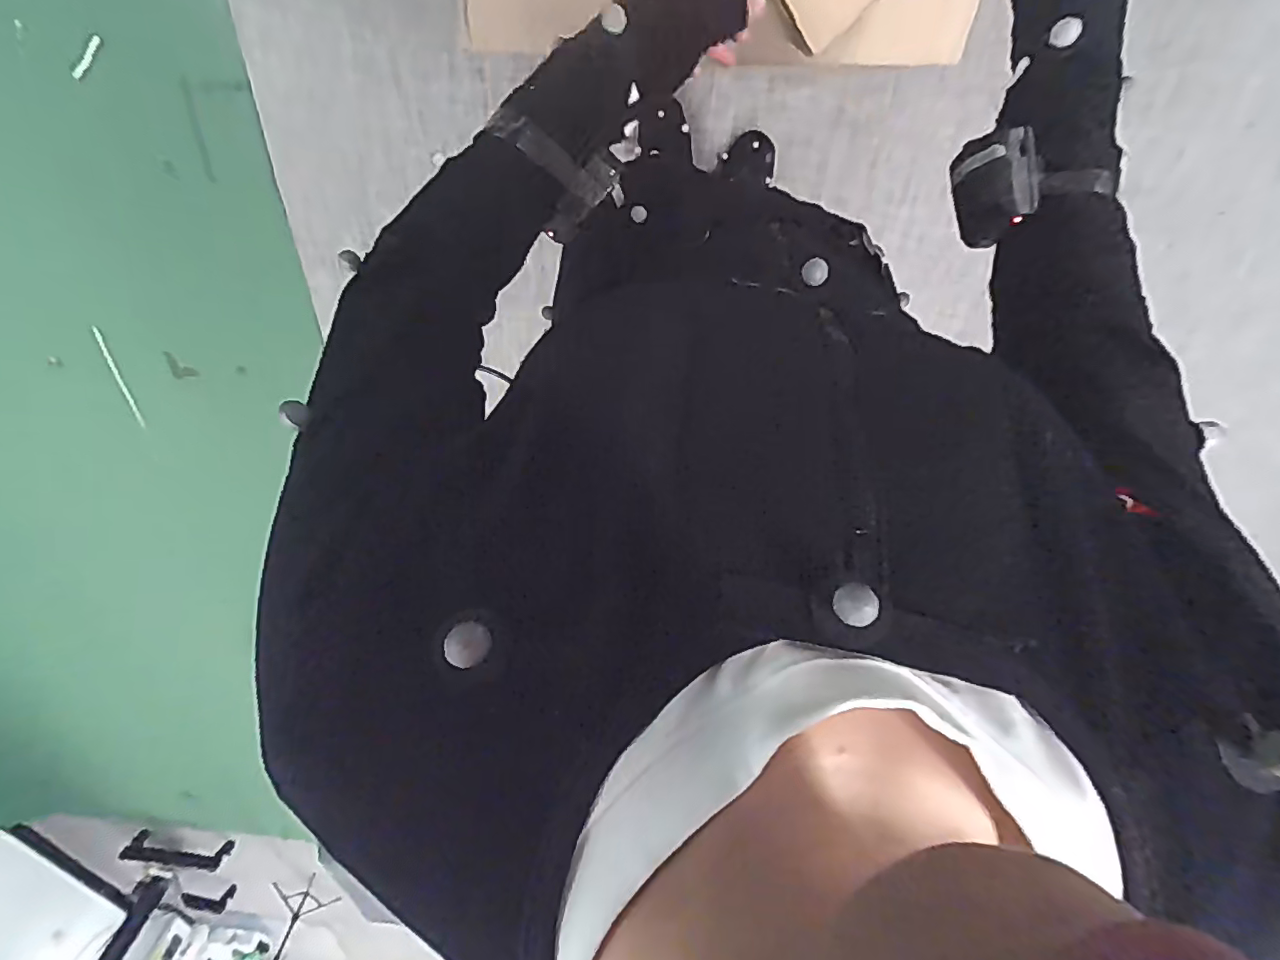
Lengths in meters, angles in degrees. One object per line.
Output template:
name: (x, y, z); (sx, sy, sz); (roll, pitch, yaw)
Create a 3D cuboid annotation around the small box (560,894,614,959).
small box: (-0.178, 1.545, 1.849); (0.168, 0.176, 0.179); (4, 127, 2)

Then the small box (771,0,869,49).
small box: (0.162, -0.494, 0.427); (0.179, 0.176, 0.168); (-30, 124, 30)
